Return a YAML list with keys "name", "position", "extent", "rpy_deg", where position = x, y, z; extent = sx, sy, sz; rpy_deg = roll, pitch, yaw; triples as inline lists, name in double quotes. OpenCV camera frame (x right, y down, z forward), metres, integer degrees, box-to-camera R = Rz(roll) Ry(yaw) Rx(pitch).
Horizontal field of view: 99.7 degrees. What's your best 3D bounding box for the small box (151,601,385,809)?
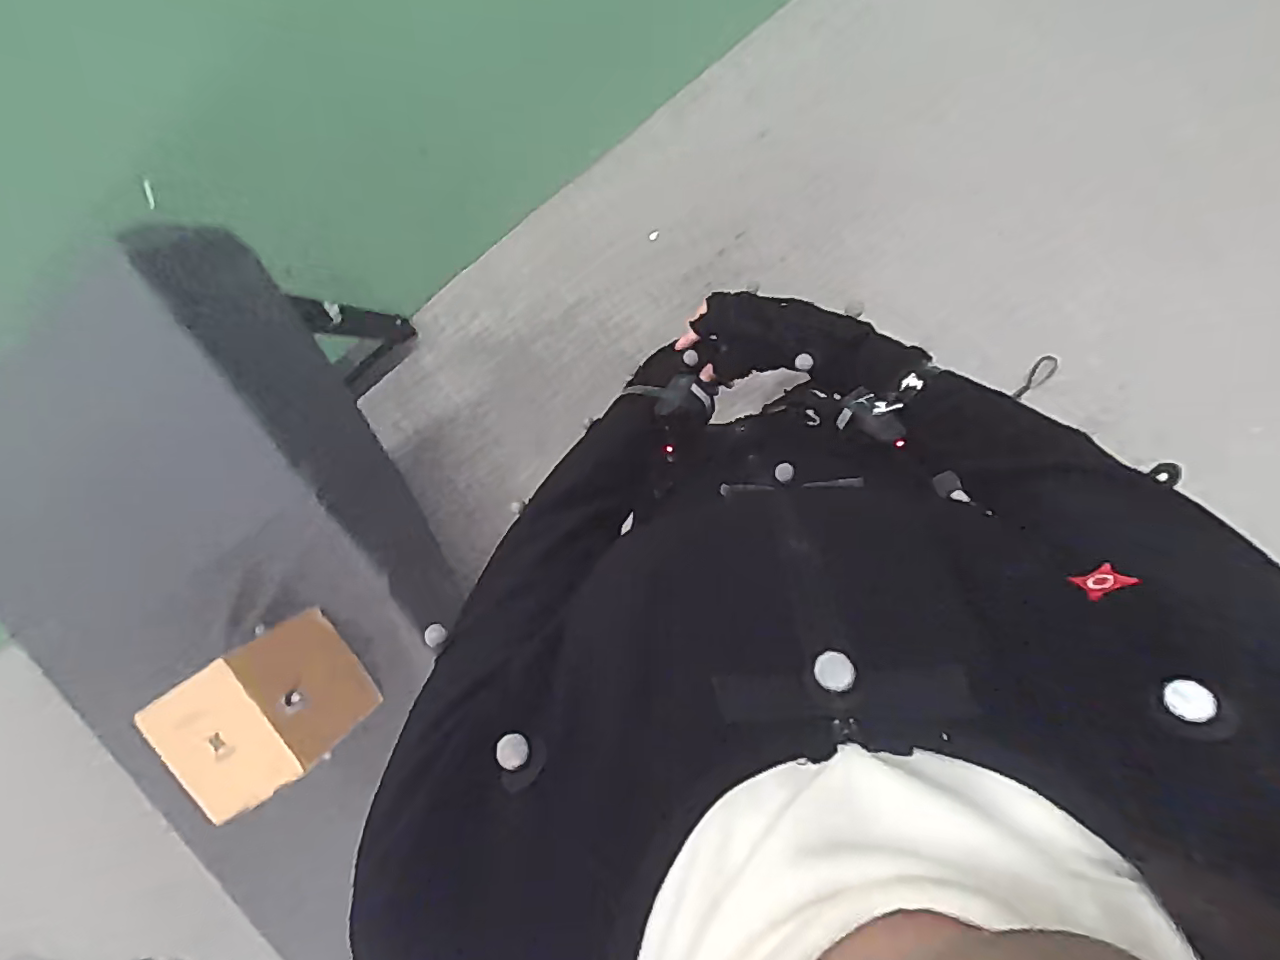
- name: "small box"
  position: [-0.502, 0.302, 0.758]
  extent: [0.168, 0.176, 0.179]
  rpy_deg: [-33, 93, 11]
